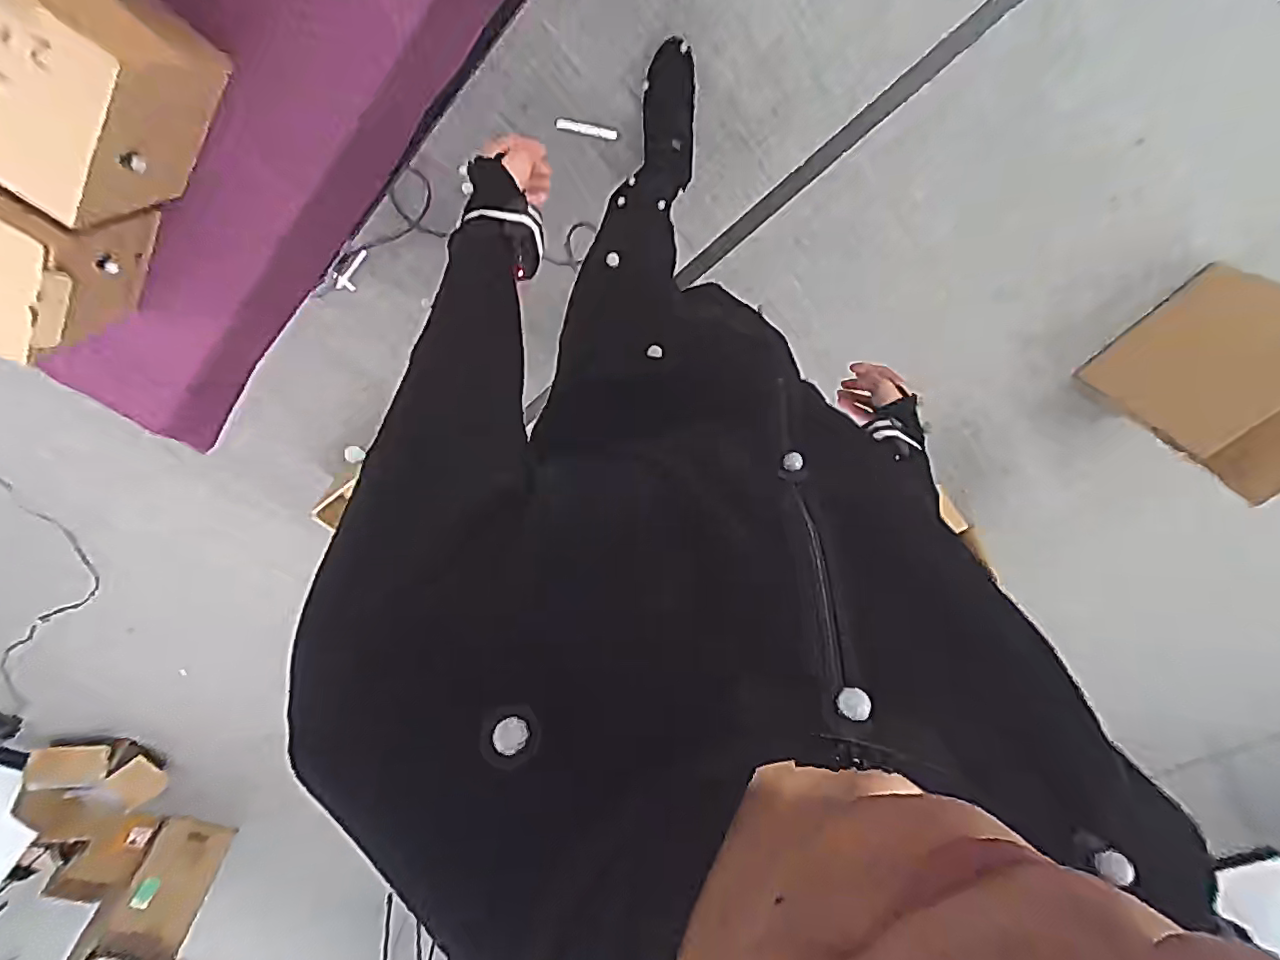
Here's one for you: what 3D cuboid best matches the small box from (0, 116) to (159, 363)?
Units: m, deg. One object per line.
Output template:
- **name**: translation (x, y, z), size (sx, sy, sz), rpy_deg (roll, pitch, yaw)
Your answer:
- **small box**: translation (-0.693, -0.270, 0.597), size (0.179, 0.176, 0.168), rpy_deg (33, 119, -24)
